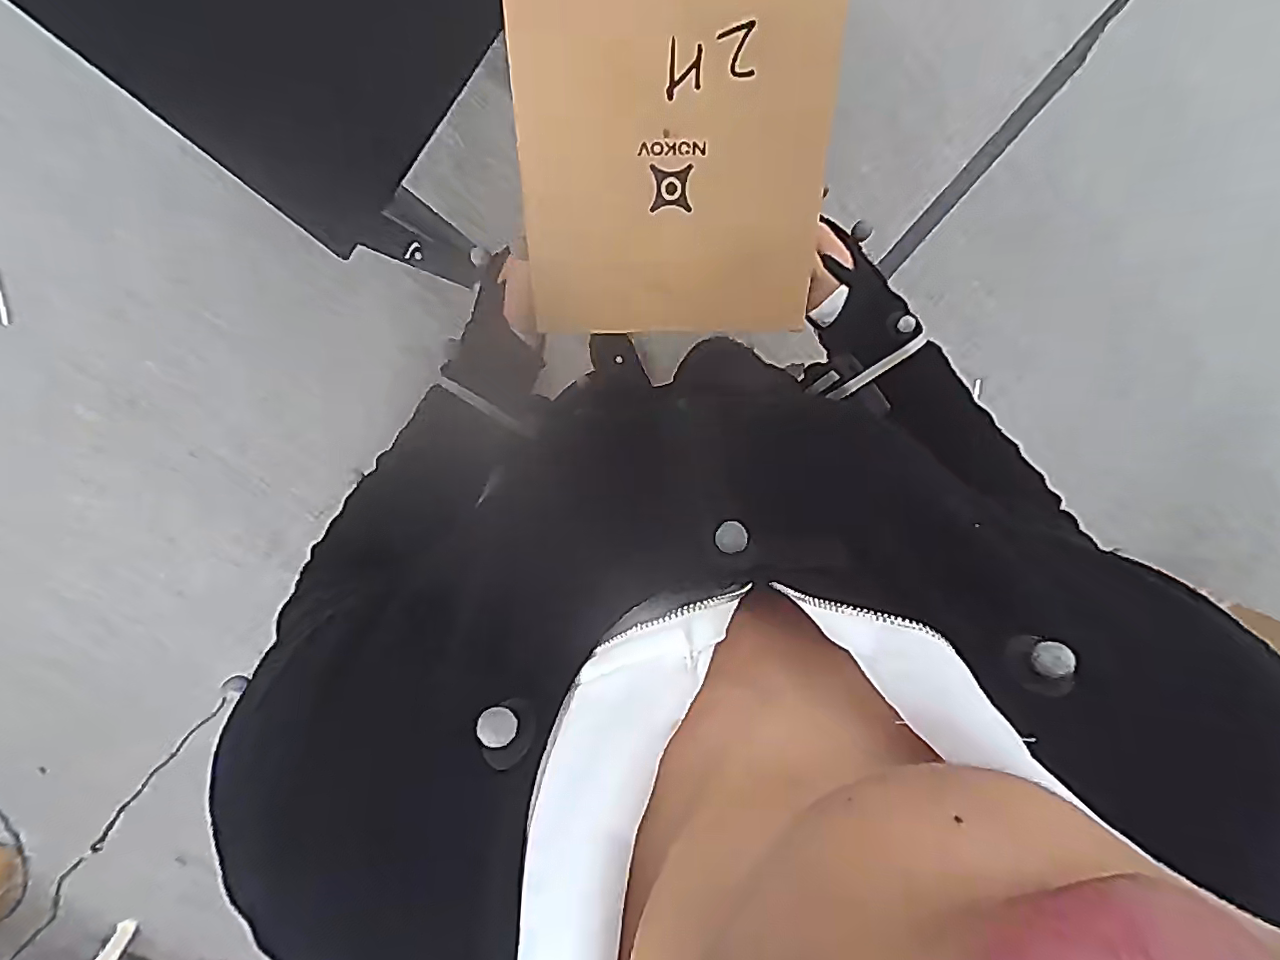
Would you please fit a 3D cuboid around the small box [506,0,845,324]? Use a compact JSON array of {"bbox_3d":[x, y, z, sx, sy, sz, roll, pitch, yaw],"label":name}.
[{"bbox_3d":[0.016,-0.212,0.360,0.168,0.176,0.179,-1,119,-1],"label":"small box"}]
